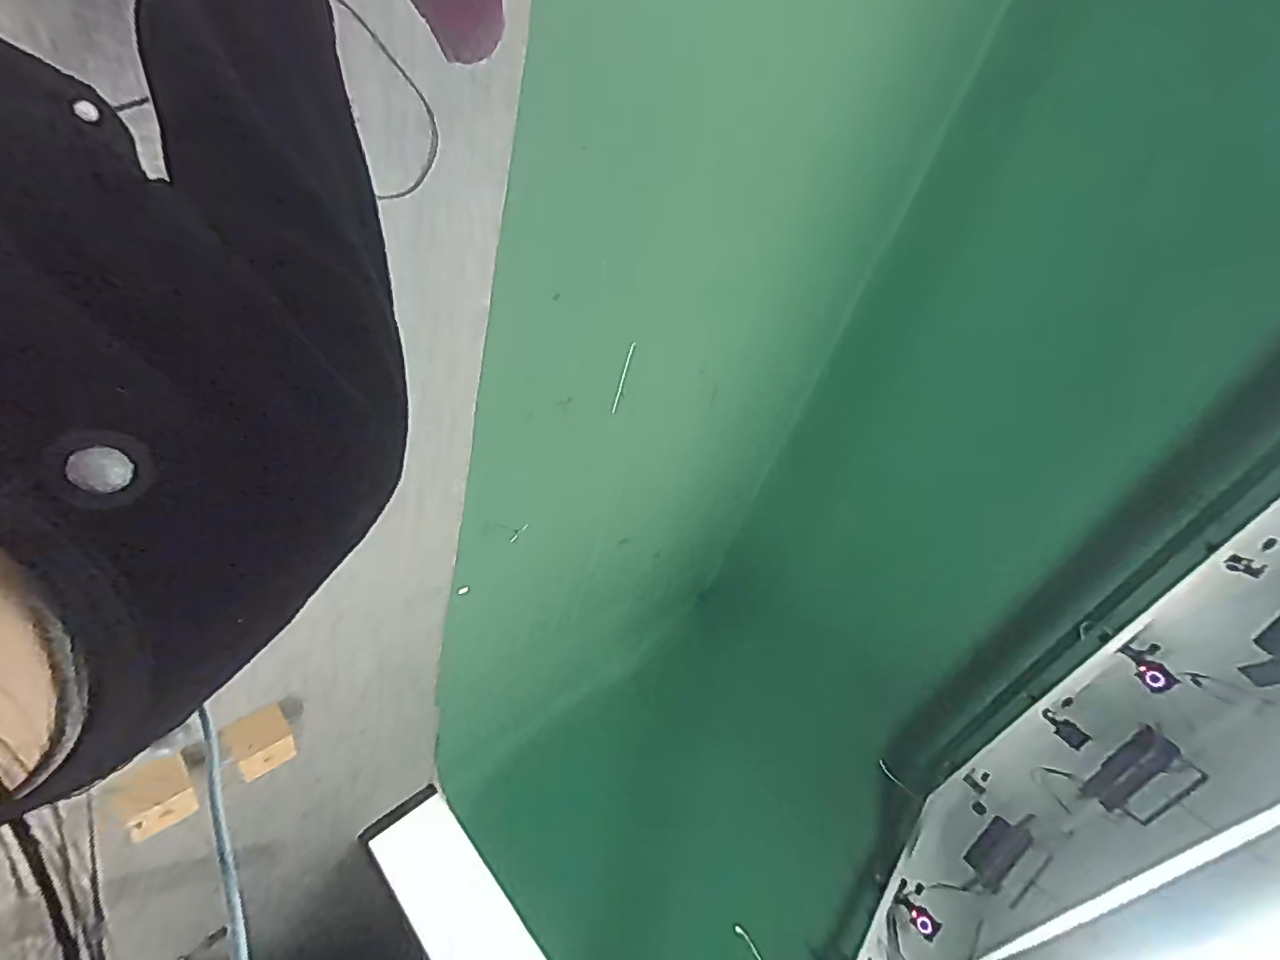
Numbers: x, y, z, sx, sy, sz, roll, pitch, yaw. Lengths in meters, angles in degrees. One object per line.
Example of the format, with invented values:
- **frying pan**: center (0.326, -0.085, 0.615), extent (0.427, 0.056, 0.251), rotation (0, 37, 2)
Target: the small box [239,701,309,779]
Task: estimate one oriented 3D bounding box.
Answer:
- **small box**: center (-1.414, 0.999, 2.085), extent (0.179, 0.176, 0.168), rotation (-24, 141, -42)
